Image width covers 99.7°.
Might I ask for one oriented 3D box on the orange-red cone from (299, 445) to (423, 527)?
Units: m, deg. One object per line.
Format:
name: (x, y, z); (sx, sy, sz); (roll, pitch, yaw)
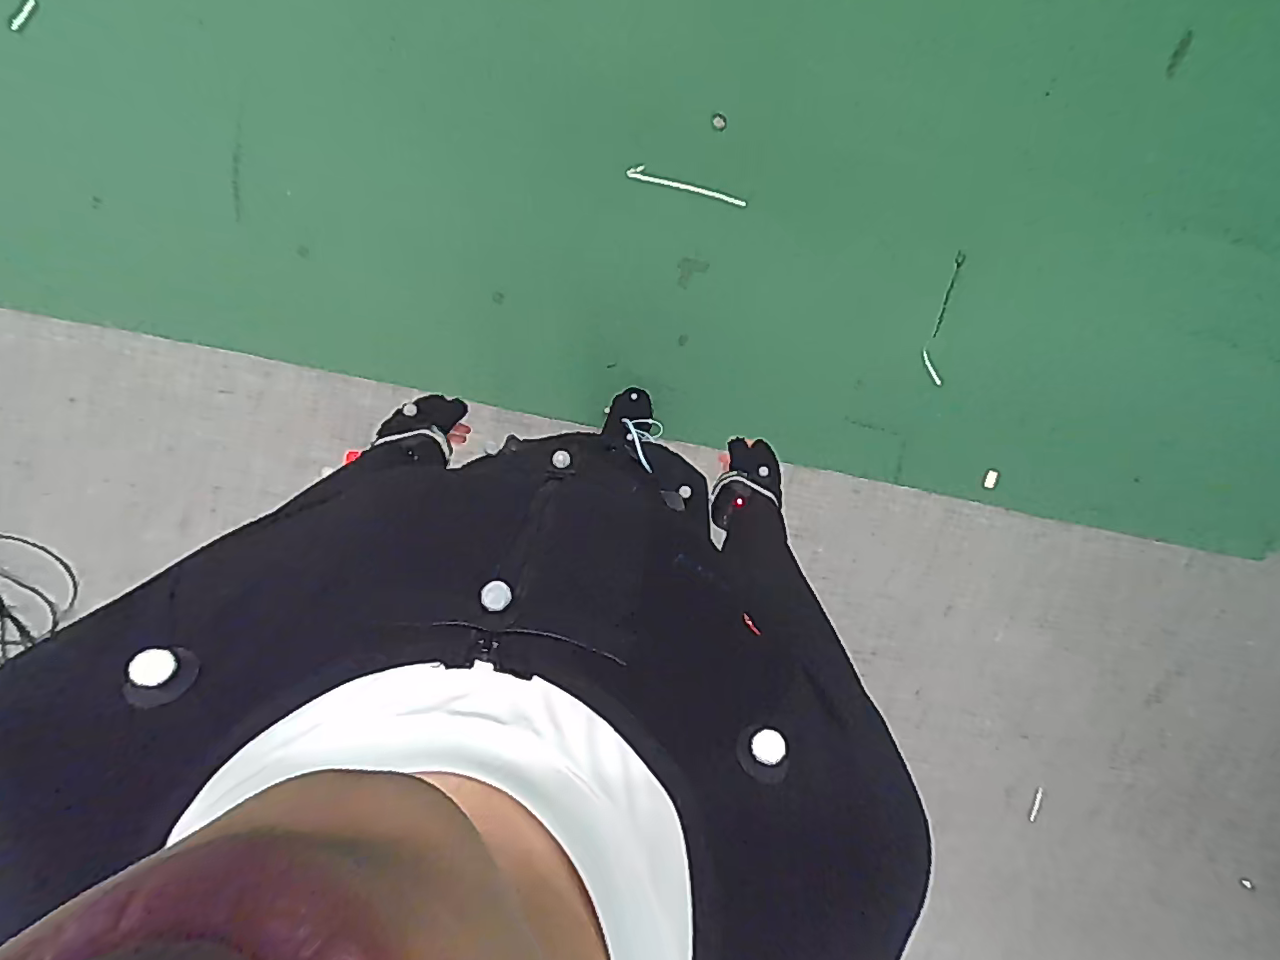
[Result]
orange-red cone: (-0.682, 0.039, 1.273); (0.198, 0.360, 0.199); (11, 97, -4)
